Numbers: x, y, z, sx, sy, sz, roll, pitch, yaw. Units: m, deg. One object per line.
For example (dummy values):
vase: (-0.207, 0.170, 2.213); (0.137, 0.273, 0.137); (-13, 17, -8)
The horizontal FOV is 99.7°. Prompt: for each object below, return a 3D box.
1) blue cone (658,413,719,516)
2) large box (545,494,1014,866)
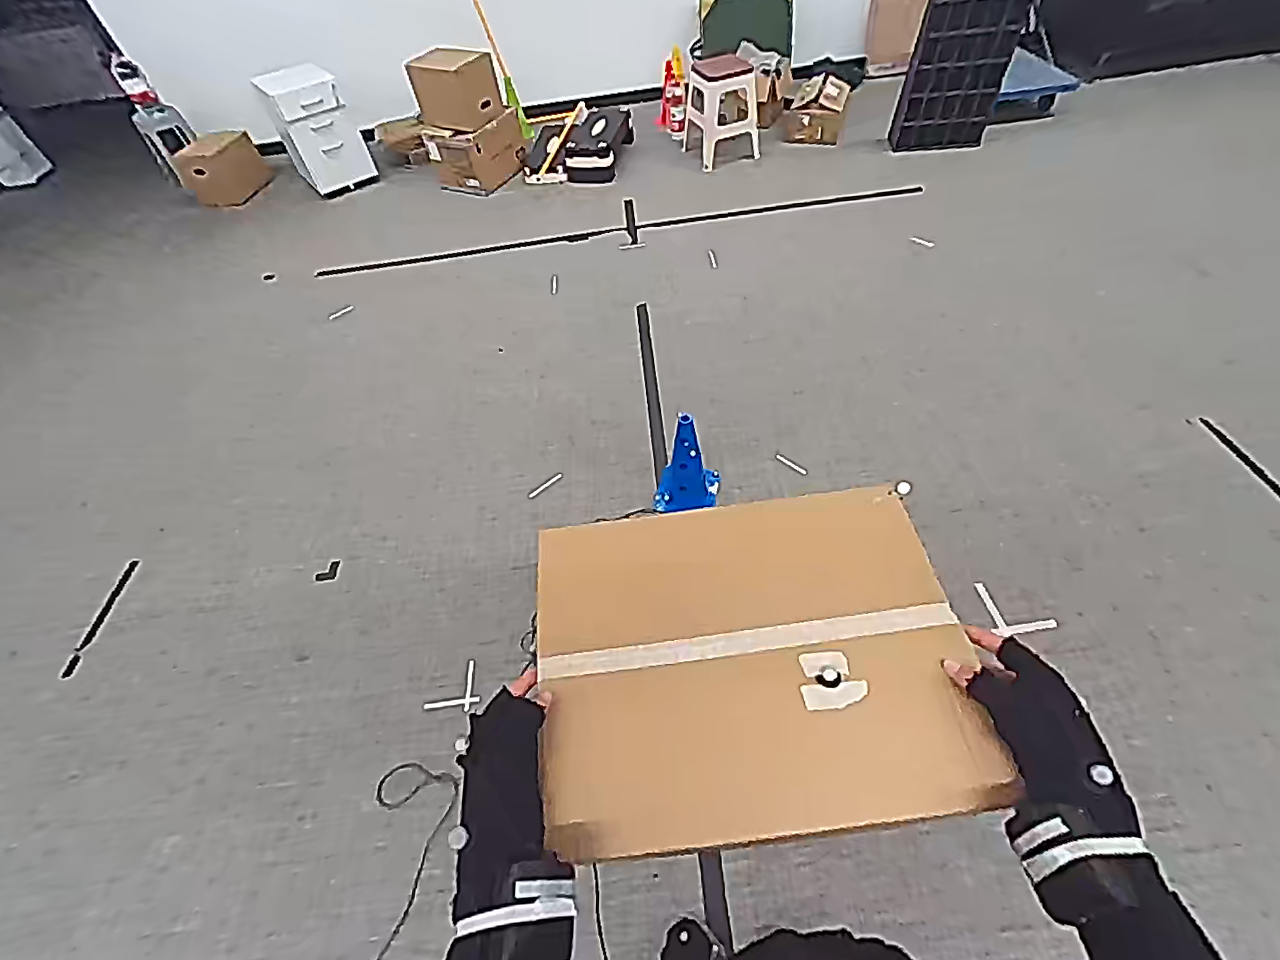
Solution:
blue cone: (0.152, -0.061, 1.725); (0.193, 0.380, 0.192); (10, 53, 14)
large box: (0.114, 0.253, 0.657); (0.408, 0.320, 0.320); (-8, 54, 0)
